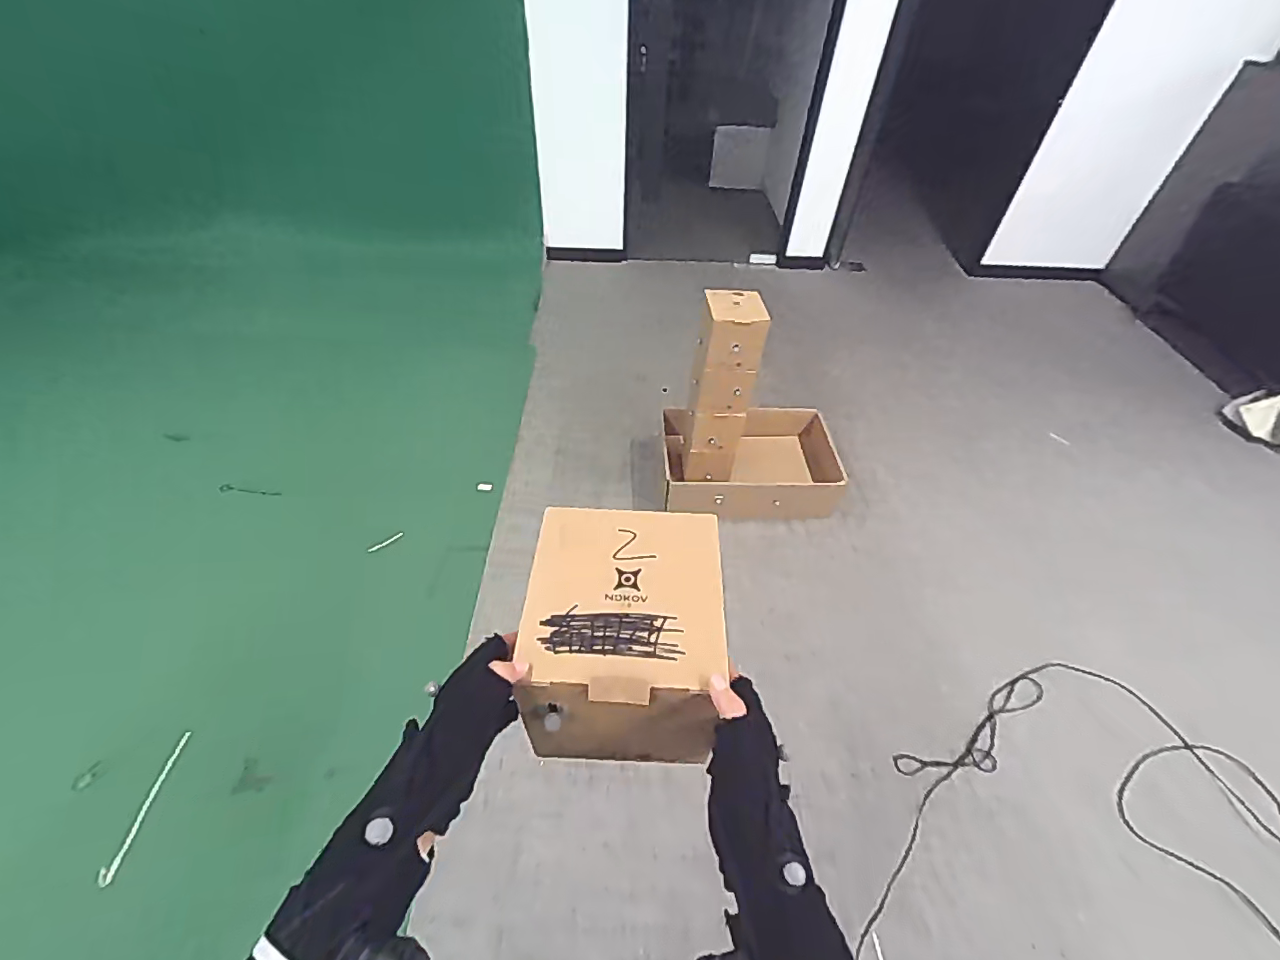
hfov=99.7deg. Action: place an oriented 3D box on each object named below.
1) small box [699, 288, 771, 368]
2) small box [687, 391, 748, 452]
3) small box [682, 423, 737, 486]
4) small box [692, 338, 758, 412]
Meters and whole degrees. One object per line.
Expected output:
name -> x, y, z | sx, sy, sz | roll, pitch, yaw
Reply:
small box -> 0.276, -0.449, 1.607 | 0.168, 0.176, 0.179 | 1, 47, -6
small box -> 0.256, -0.216, 1.836 | 0.168, 0.176, 0.179 | 1, 46, -4
small box -> 0.246, -0.102, 1.952 | 0.168, 0.176, 0.179 | 2, 46, -3
small box -> 0.264, -0.333, 1.722 | 0.168, 0.176, 0.179 | 1, 46, -6
